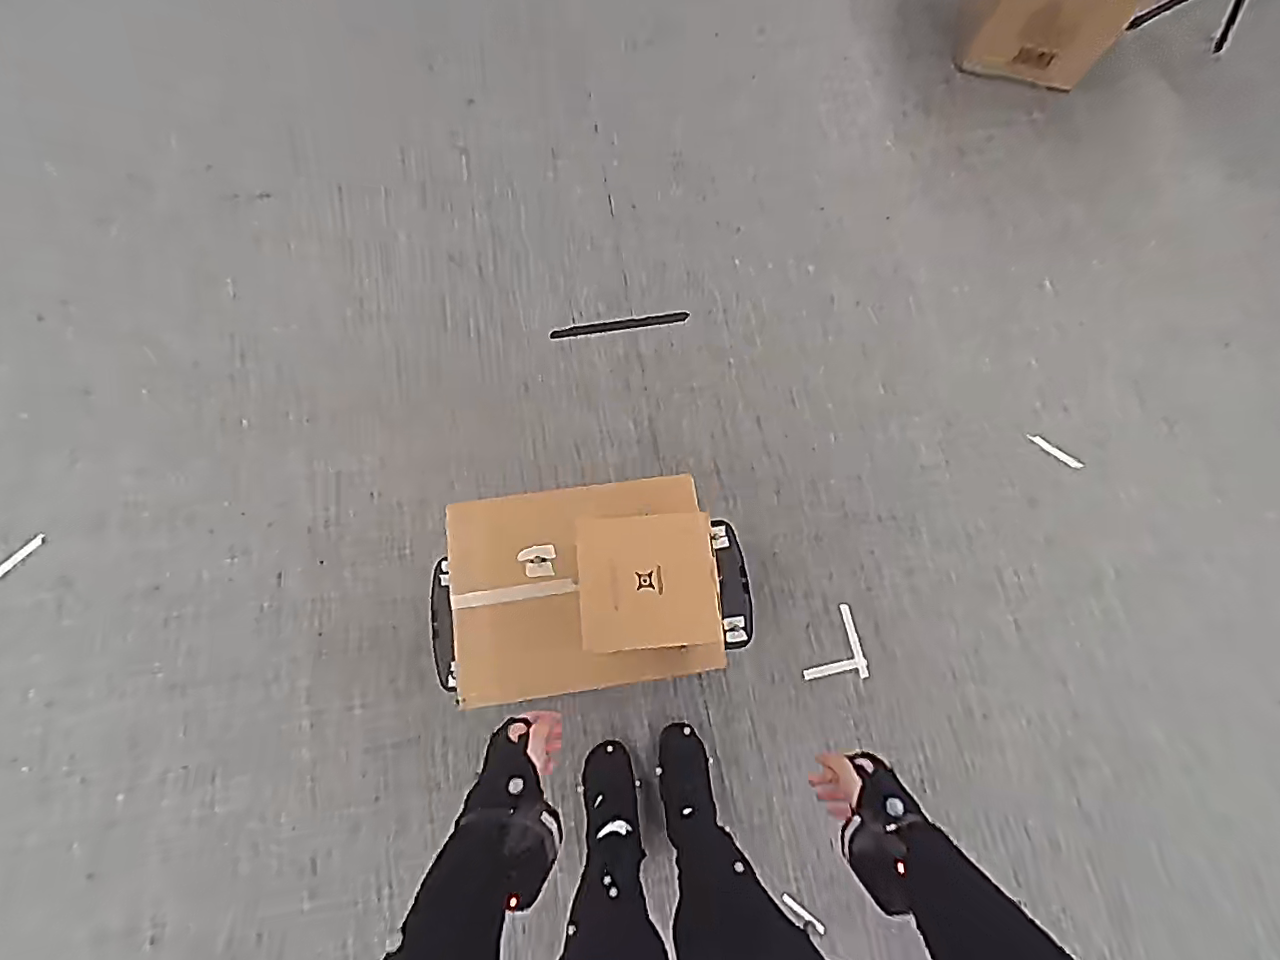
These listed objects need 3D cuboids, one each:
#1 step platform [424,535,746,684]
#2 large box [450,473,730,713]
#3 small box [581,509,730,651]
[{"bbox_3d":[-0.112,0.282,1.198,0.684,0.204,0.286,-3,75,-3],"label":"step platform"},{"bbox_3d":[-0.086,0.200,0.975,0.408,0.320,0.320,-8,74,-4],"label":"large box"},{"bbox_3d":[0.013,0.139,0.742,0.179,0.176,0.168,-4,75,-3],"label":"small box"}]
